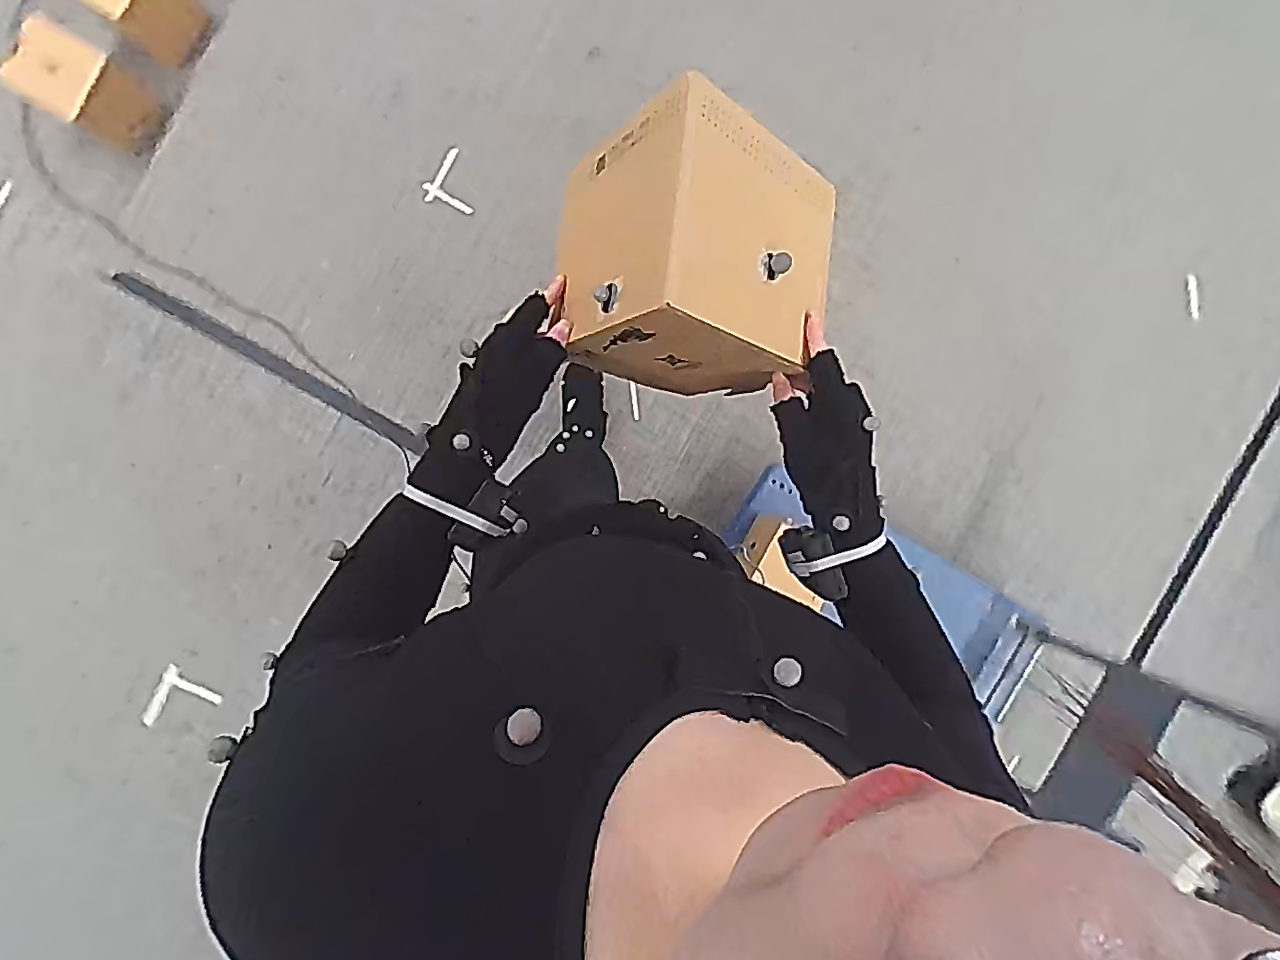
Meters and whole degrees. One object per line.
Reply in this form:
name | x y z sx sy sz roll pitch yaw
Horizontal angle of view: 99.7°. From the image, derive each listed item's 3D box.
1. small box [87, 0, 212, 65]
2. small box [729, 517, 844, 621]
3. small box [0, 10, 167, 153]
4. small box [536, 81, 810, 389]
small box | -1.155 -1.126 1.250 0.168 0.176 0.179 32 90 -6
small box | 0.332 0.198 1.265 0.179 0.176 0.168 29 92 -7
small box | -1.276 -0.907 1.253 0.179 0.176 0.168 31 92 -7
small box | 0.031 -0.187 0.468 0.179 0.168 0.176 8 84 -38
